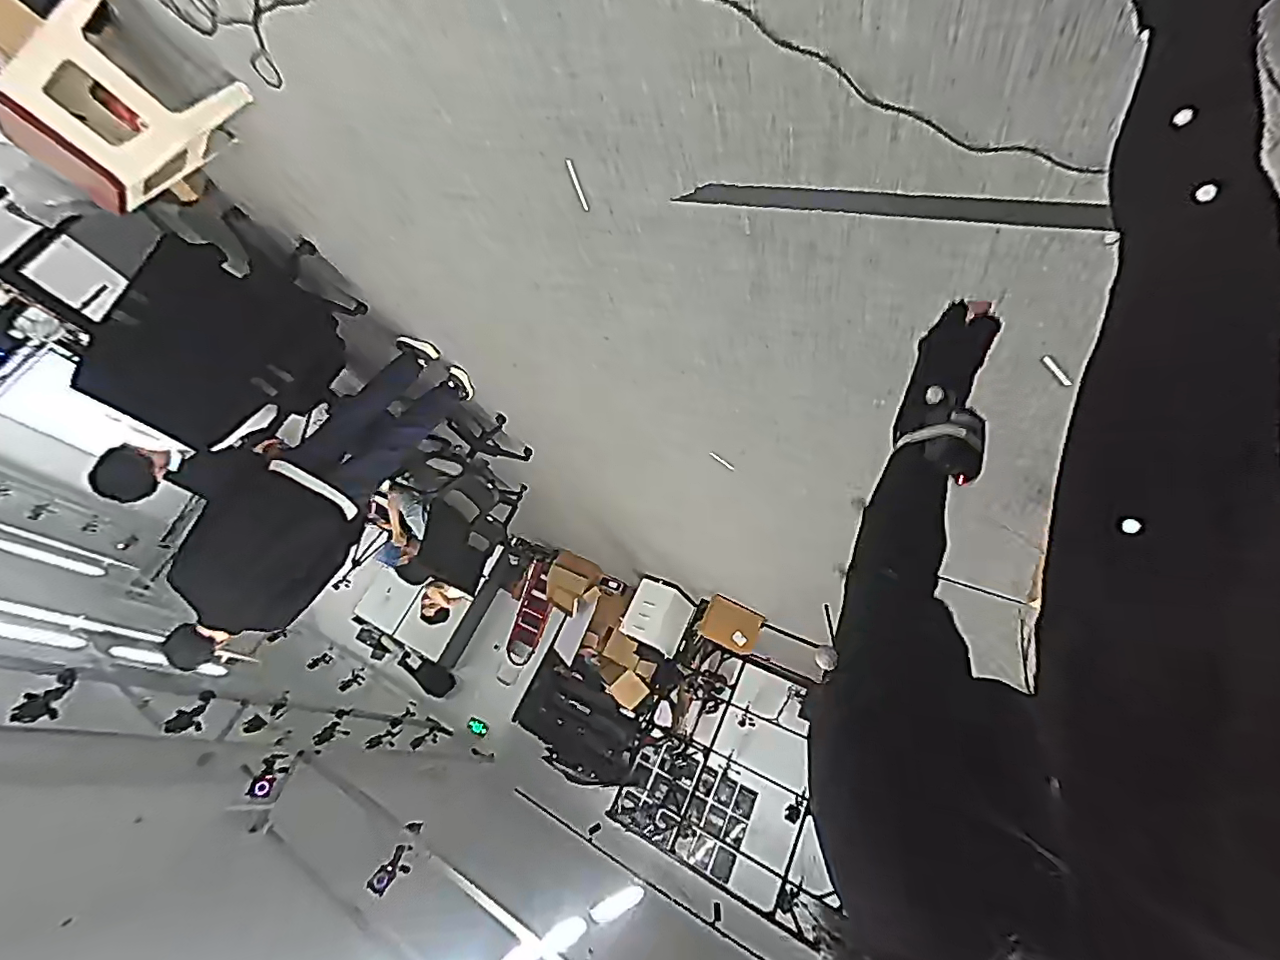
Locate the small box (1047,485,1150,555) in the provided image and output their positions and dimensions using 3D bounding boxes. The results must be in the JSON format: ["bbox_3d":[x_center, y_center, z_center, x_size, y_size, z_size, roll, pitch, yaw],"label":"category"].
[{"bbox_3d":[1.287,0.133,1.525,0.179,0.176,0.168,15,159,28],"label":"small box"}]

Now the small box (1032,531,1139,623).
[{"bbox_3d":[1.206,0.262,1.464,0.168,0.176,0.179,19,161,23],"label":"small box"}]
